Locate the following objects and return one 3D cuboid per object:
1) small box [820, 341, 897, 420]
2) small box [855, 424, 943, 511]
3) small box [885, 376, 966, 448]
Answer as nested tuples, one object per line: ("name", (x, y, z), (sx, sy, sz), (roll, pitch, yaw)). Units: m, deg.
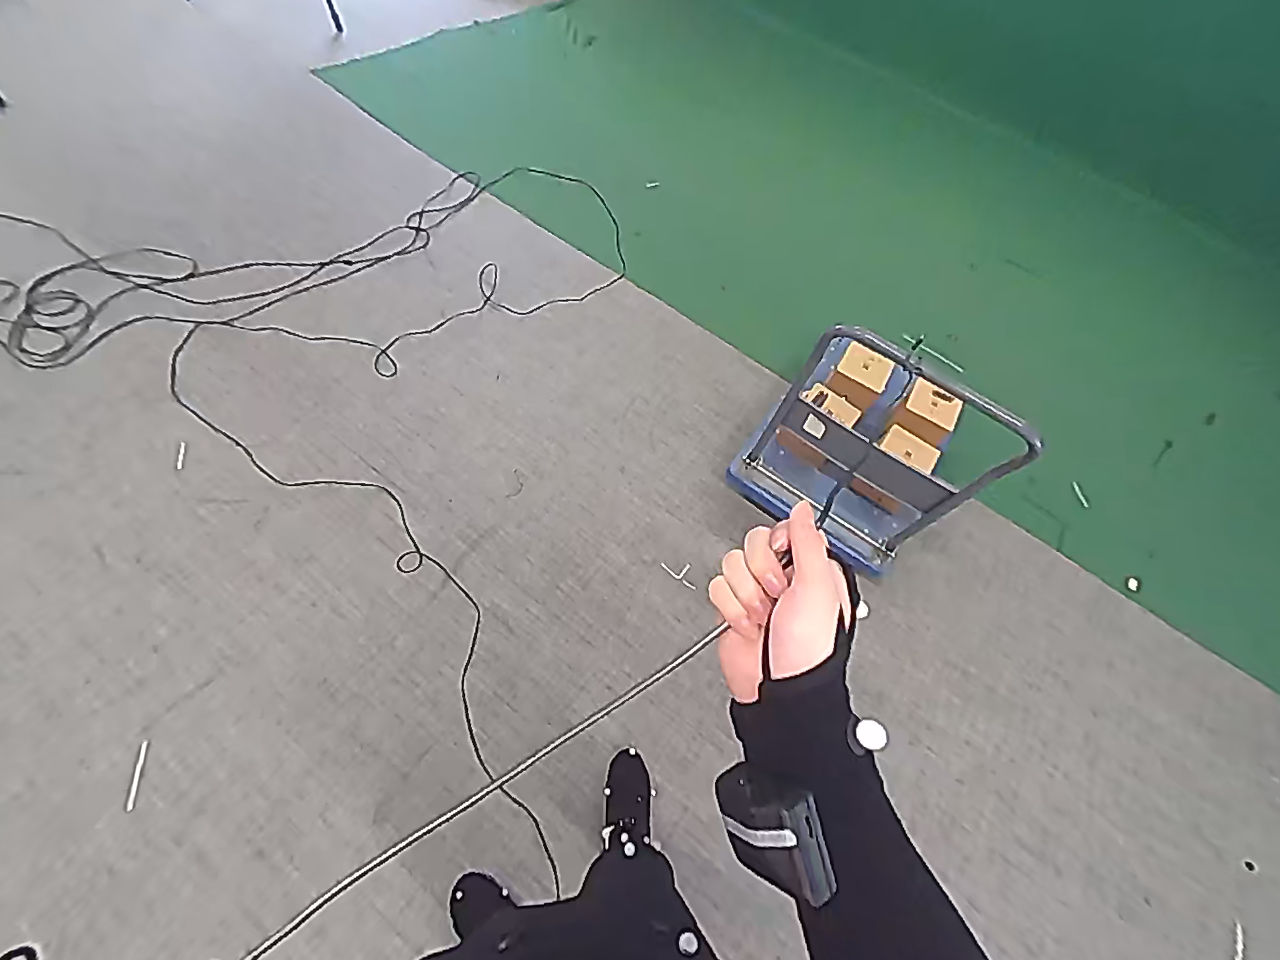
("small box", (0.754, -0.341, 1.884), (0.168, 0.176, 0.179), (32, 59, 9))
("small box", (0.812, -0.036, 1.711), (0.168, 0.176, 0.179), (35, 61, 12))
("small box", (0.967, -0.214, 1.843), (0.168, 0.176, 0.179), (31, 60, 10))
